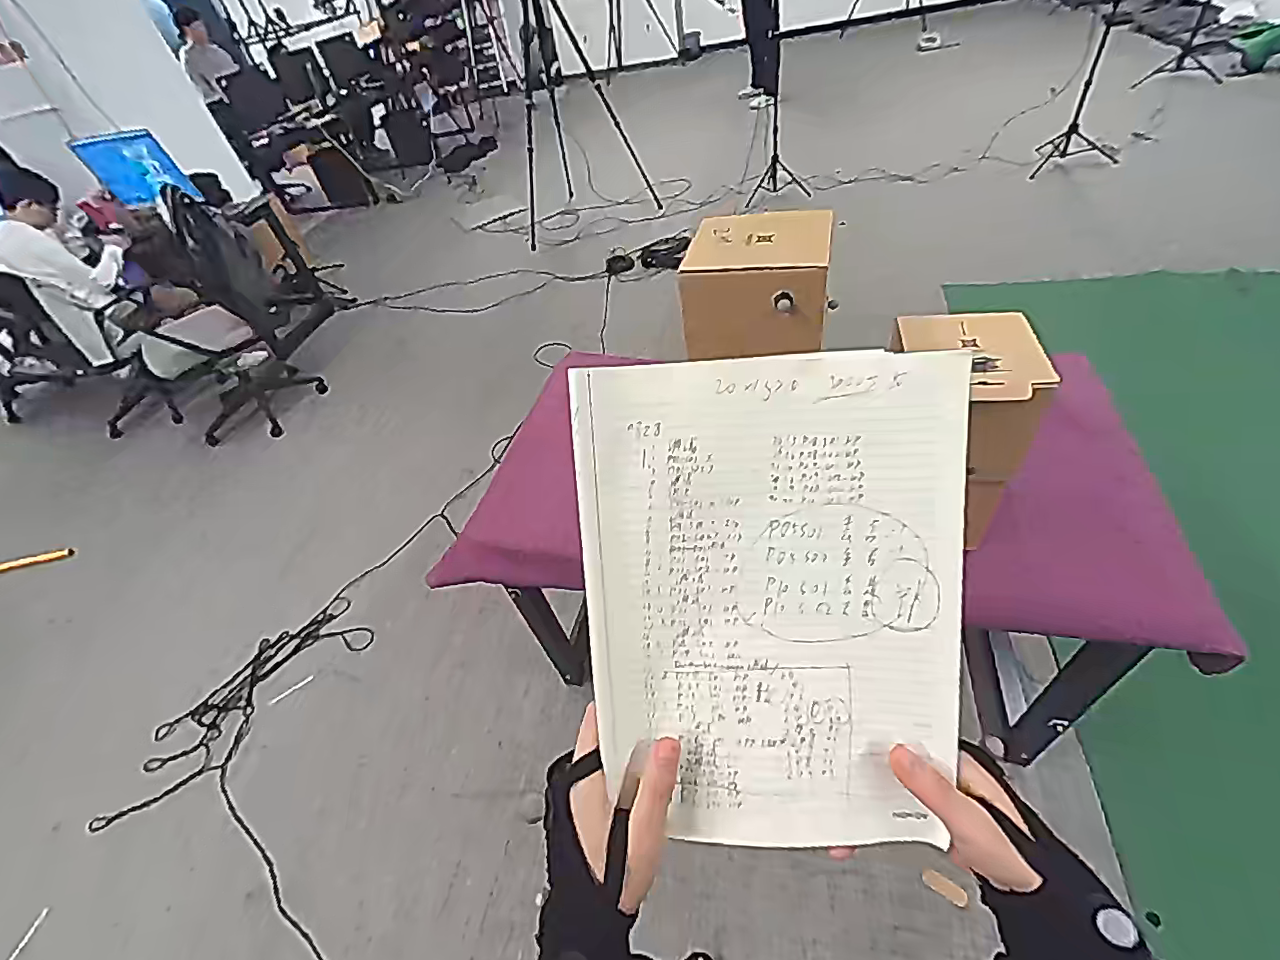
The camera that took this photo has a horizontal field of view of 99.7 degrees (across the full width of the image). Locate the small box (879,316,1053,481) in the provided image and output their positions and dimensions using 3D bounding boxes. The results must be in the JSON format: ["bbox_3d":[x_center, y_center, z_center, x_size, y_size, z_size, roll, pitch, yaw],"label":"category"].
[{"bbox_3d":[0.448,-0.115,0.777,0.168,0.176,0.179,3,46,15],"label":"small box"}]

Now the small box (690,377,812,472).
[{"bbox_3d":[0.182,-0.128,0.850,0.168,0.176,0.179,4,46,16],"label":"small box"}]

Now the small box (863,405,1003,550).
[{"bbox_3d":[0.470,-0.004,0.896,0.168,0.176,0.179,4,46,16],"label":"small box"}]

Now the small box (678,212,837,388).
[{"bbox_3d":[0.162,-0.239,0.729,0.179,0.176,0.168,5,46,18],"label":"small box"}]
